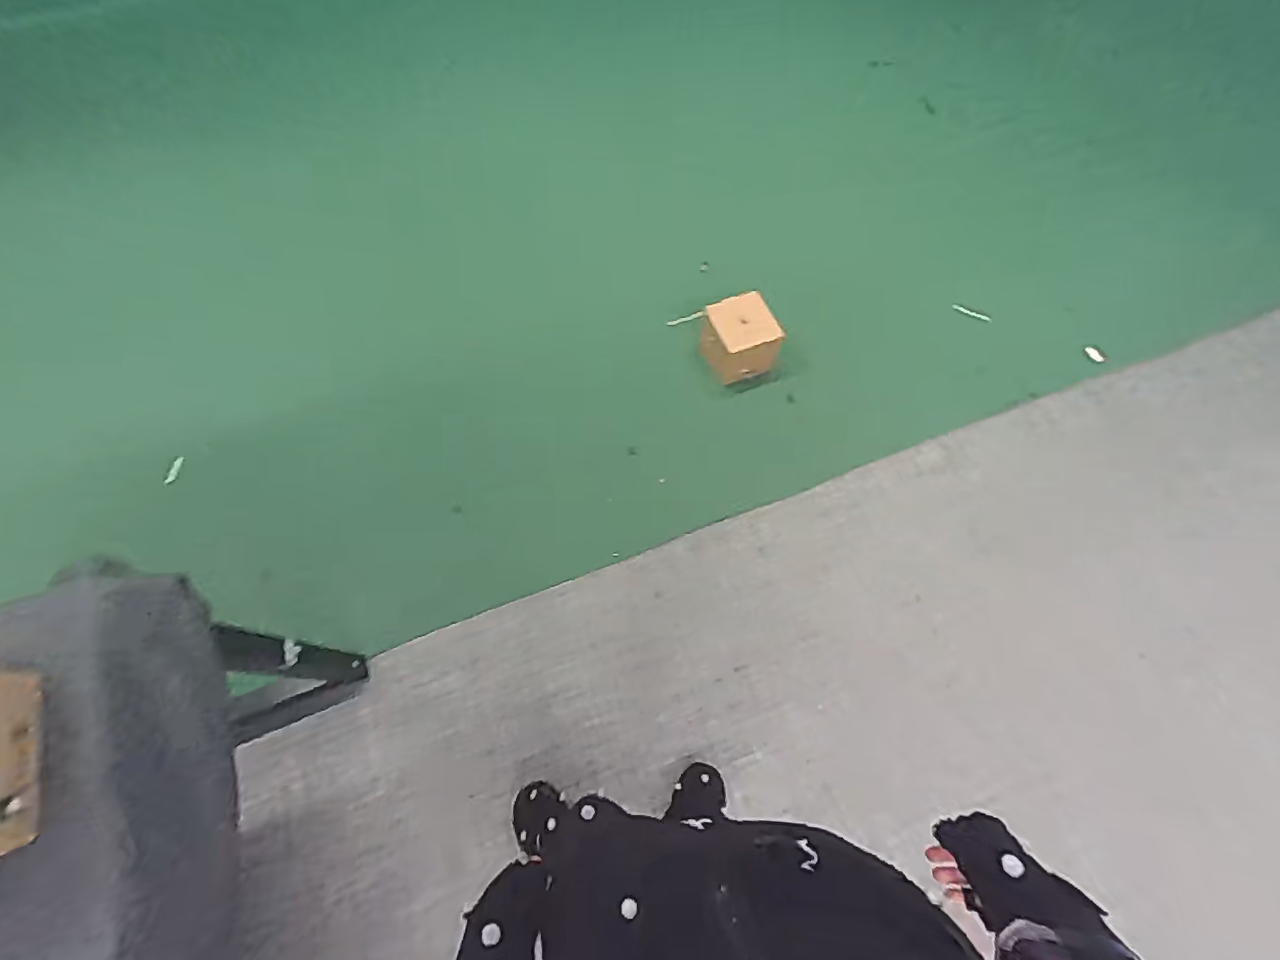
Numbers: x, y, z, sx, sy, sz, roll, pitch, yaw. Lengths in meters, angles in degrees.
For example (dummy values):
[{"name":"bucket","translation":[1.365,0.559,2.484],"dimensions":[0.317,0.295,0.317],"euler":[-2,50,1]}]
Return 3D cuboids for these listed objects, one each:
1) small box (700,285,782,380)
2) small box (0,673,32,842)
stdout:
[{"name":"small box","translation":[0.282,-0.421,1.559],"dimensions":[0.168,0.176,0.179],"euler":[-19,68,-7]},{"name":"small box","translation":[-0.699,0.272,0.467],"dimensions":[0.179,0.176,0.168],"euler":[-20,69,-8]}]
